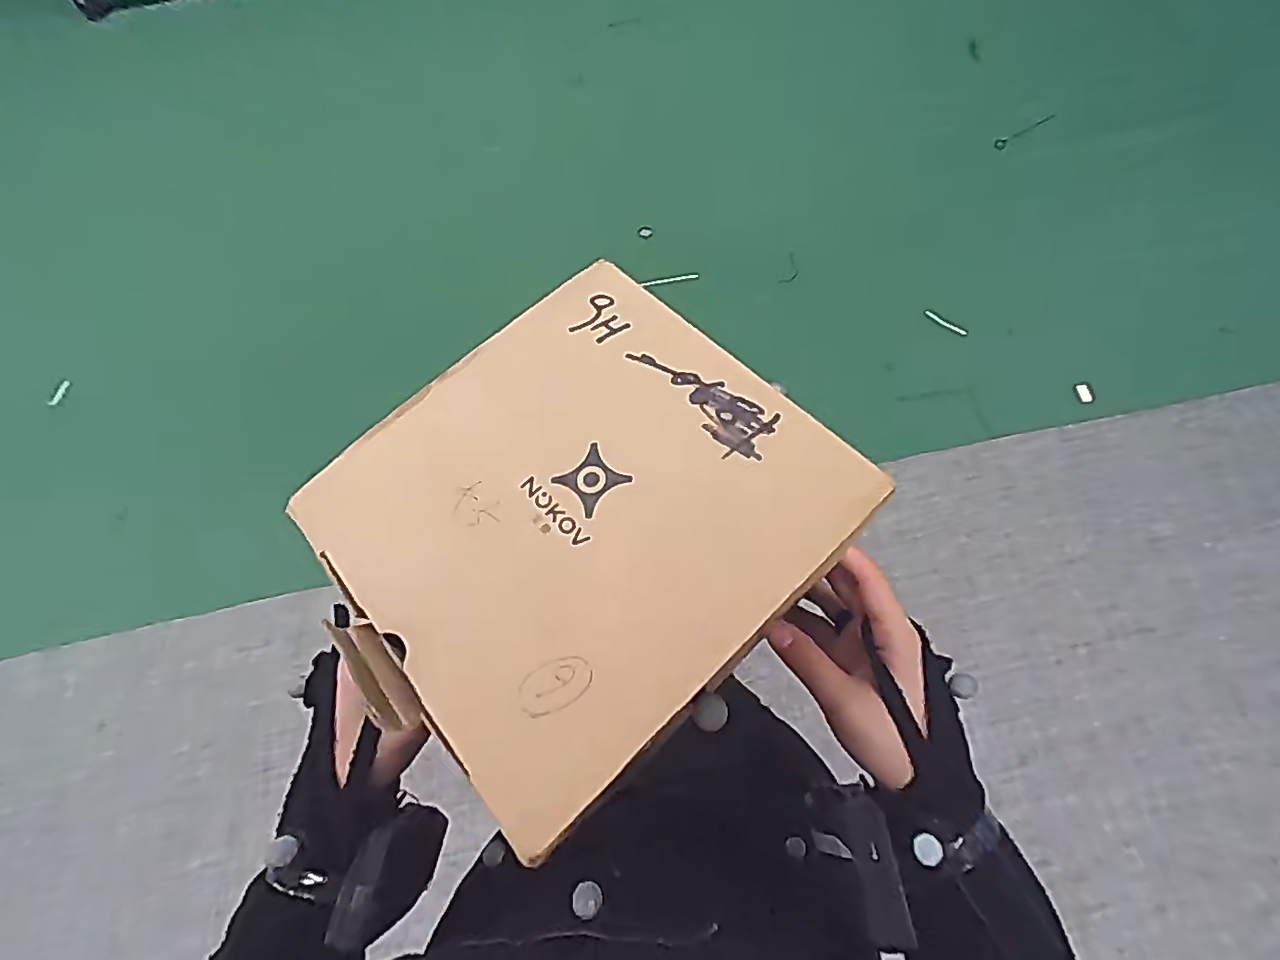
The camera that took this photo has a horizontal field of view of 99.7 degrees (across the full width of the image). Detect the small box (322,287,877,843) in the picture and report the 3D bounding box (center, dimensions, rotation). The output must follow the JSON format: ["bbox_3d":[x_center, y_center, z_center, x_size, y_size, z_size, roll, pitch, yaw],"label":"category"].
[{"bbox_3d":[-0.013,0.044,0.293,0.179,0.176,0.168,-42,69,-12],"label":"small box"}]
